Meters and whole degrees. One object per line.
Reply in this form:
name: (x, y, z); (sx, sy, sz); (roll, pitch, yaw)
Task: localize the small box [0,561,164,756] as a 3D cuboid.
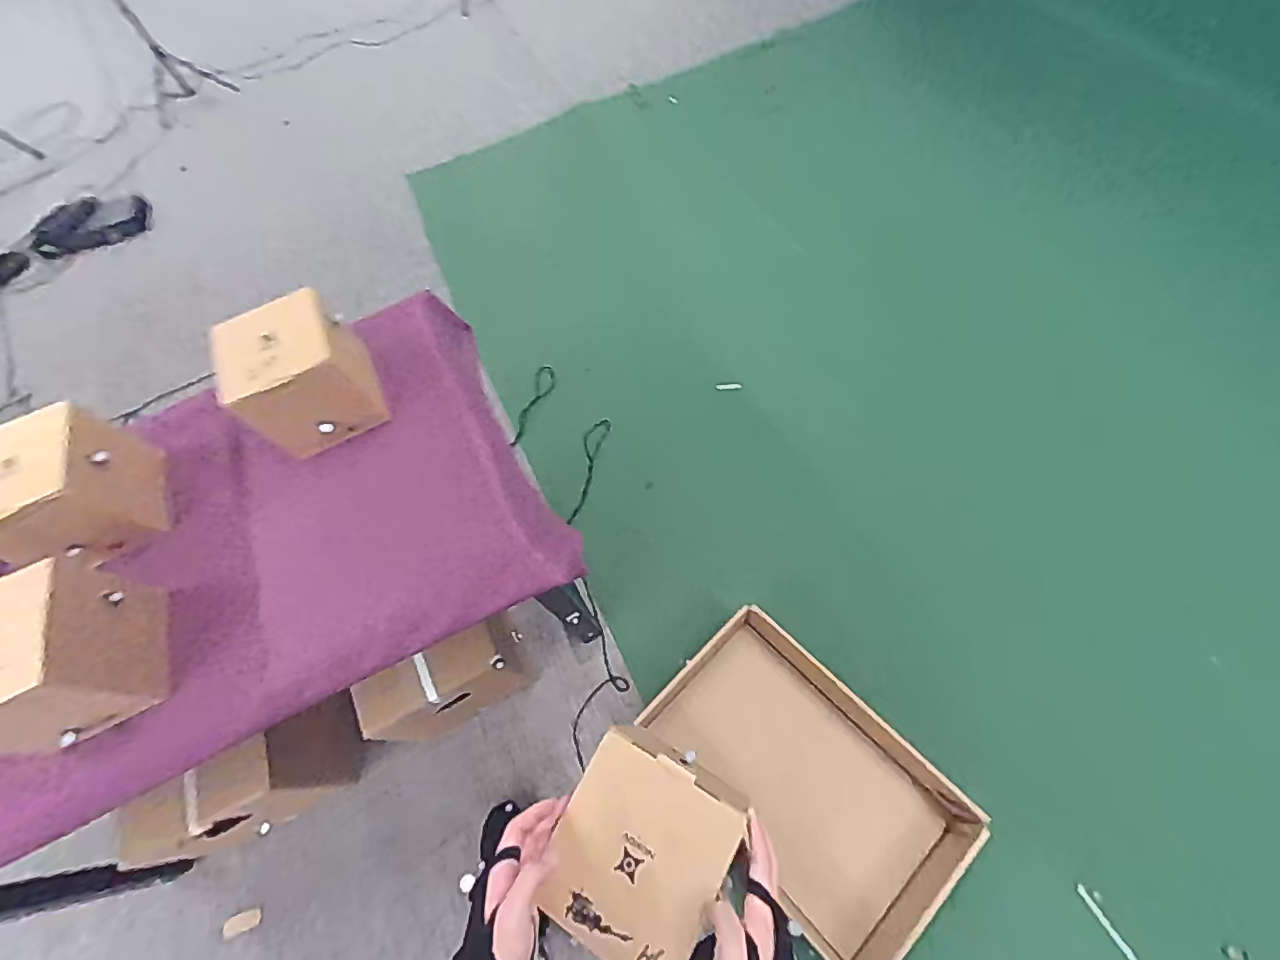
small box: (-0.772, 0.238, 0.705); (0.168, 0.176, 0.179); (-26, 62, -6)

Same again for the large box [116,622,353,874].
large box: (-0.945, 0.616, 1.280); (0.320, 0.320, 0.408); (-26, 61, -8)

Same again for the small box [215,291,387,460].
small box: (-0.546, -0.165, 0.884); (0.168, 0.176, 0.179); (-26, 63, -5)

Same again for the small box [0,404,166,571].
small box: (-0.881, 0.021, 0.834); (0.168, 0.176, 0.179); (-25, 63, -7)

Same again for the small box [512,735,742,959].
small box: (-0.001, 0.399, 0.585); (0.168, 0.176, 0.179); (24, 73, 21)
